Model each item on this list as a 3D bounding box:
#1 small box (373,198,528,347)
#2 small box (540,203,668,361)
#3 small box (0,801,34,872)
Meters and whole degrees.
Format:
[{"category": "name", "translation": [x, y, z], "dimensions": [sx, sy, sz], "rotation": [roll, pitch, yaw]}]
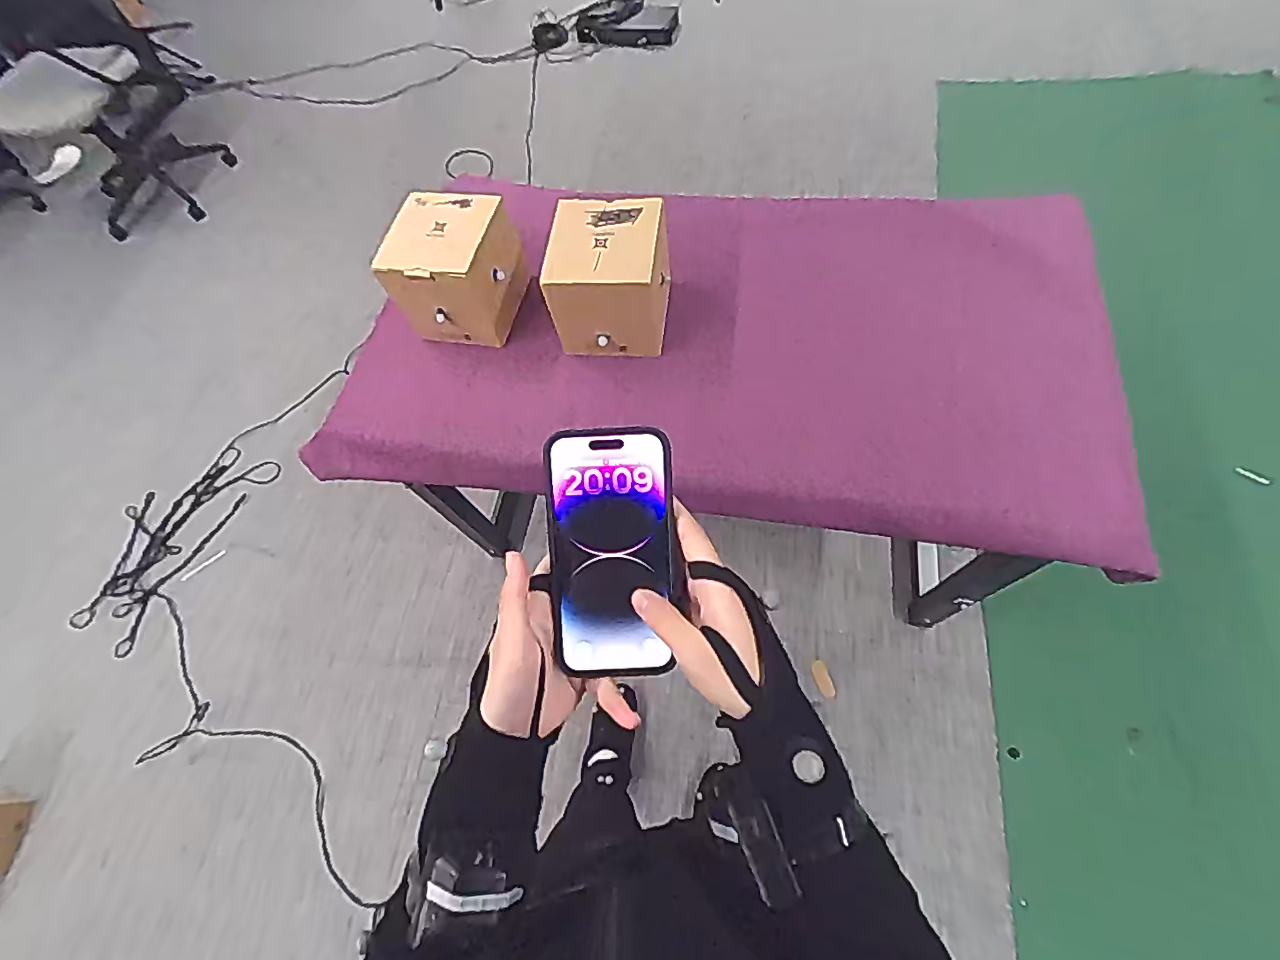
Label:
[{"category": "small box", "translation": [-0.309, -0.349, 0.924], "dimensions": [0.168, 0.176, 0.179], "rotation": [8, 66, 11]}, {"category": "small box", "translation": [-0.047, -0.317, 0.874], "dimensions": [0.168, 0.176, 0.179], "rotation": [3, 65, 9]}, {"category": "small box", "translation": [-1.661, 0.881, 1.309], "dimensions": [0.179, 0.176, 0.168], "rotation": [-1, 64, 7]}]
